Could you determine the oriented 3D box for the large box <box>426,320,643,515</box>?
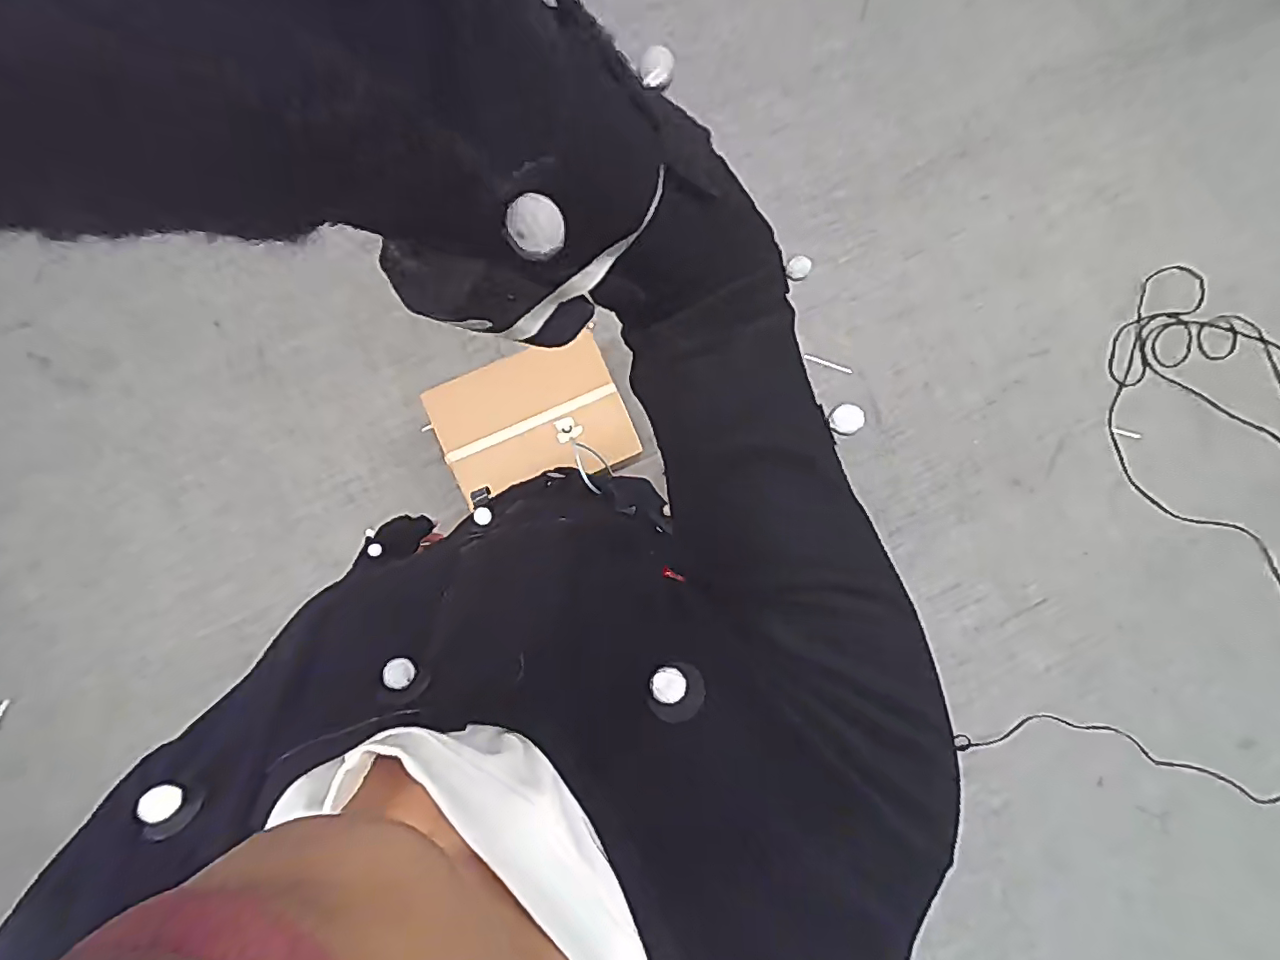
[{"bbox_3d":[-0.238,-0.134,1.340,0.408,0.320,0.320,-23,90,-2],"label":"large box"}]
